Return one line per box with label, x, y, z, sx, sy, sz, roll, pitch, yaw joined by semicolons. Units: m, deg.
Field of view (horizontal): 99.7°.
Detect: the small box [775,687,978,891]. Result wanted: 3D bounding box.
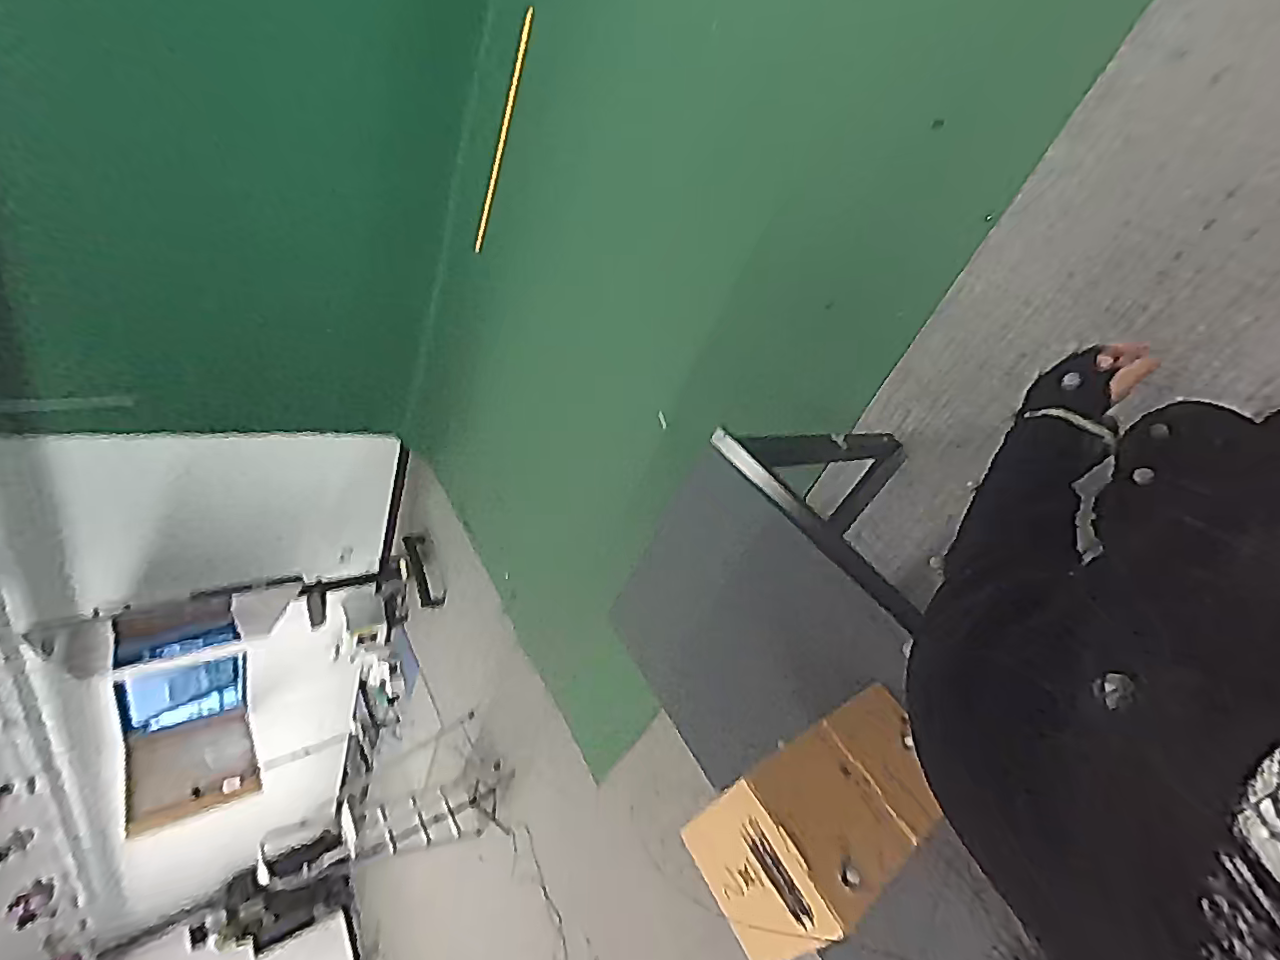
small box;0.337;0.431;0.773;0.168;0.176;0.179;51;130;32
